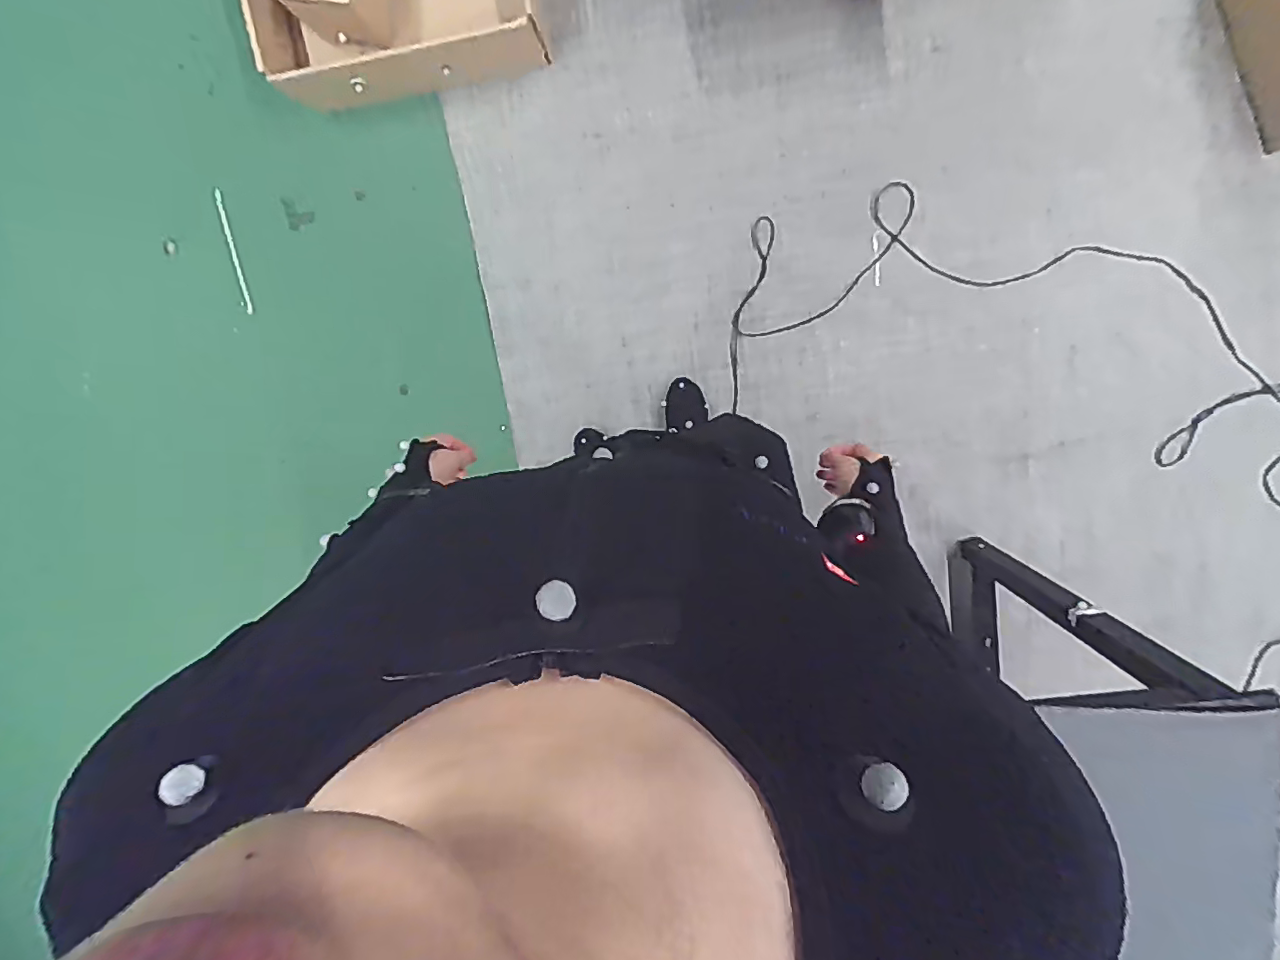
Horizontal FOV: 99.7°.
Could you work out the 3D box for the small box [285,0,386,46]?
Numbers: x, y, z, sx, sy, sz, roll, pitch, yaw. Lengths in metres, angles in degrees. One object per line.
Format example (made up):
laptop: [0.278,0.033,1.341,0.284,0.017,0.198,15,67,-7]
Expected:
small box: [-0.666,-1.089,1.164,0.168,0.176,0.179,7,102,2]
